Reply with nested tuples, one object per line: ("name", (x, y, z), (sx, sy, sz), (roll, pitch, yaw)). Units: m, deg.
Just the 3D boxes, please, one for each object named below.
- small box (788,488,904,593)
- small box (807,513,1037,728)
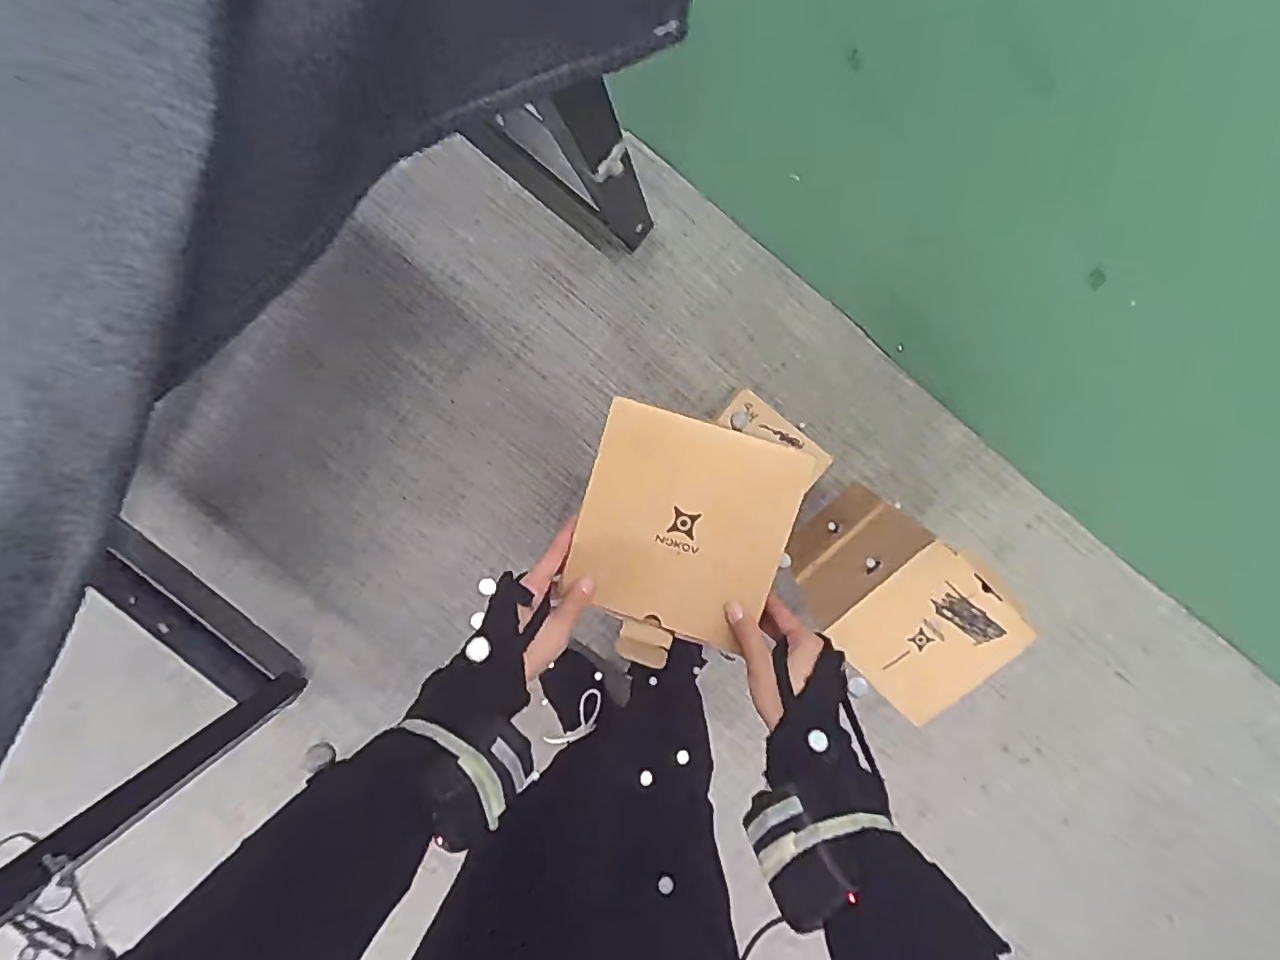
("small box", (0.358, 0.134, 0.860), (0.168, 0.176, 0.179), (44, 103, -1))
("small box", (0.342, 0.166, 0.699), (0.168, 0.176, 0.179), (44, 102, 0))
